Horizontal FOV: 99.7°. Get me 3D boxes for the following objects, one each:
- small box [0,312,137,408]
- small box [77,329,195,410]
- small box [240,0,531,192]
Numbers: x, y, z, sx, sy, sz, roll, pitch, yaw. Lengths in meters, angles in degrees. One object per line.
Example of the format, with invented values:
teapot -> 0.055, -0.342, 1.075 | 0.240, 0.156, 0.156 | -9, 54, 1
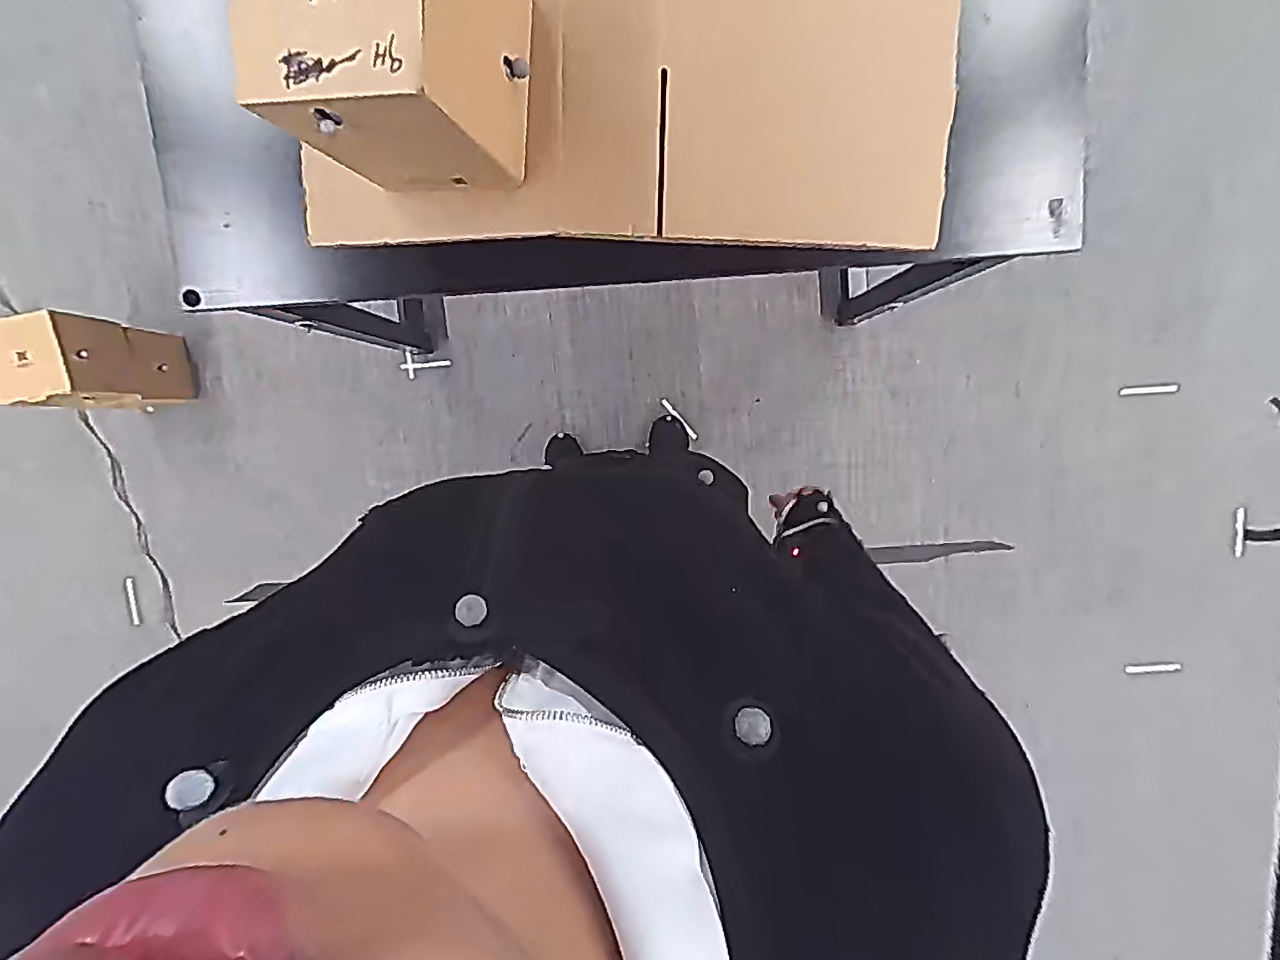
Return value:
small box -> -1.292, -0.261, 1.212 | 0.168, 0.176, 0.179 | -11, 95, 0
small box -> -1.290, -0.275, 1.374 | 0.168, 0.176, 0.179 | -8, 97, 1
small box -> -0.205, -0.379, 0.473 | 0.168, 0.176, 0.179 | 6, 97, 13
